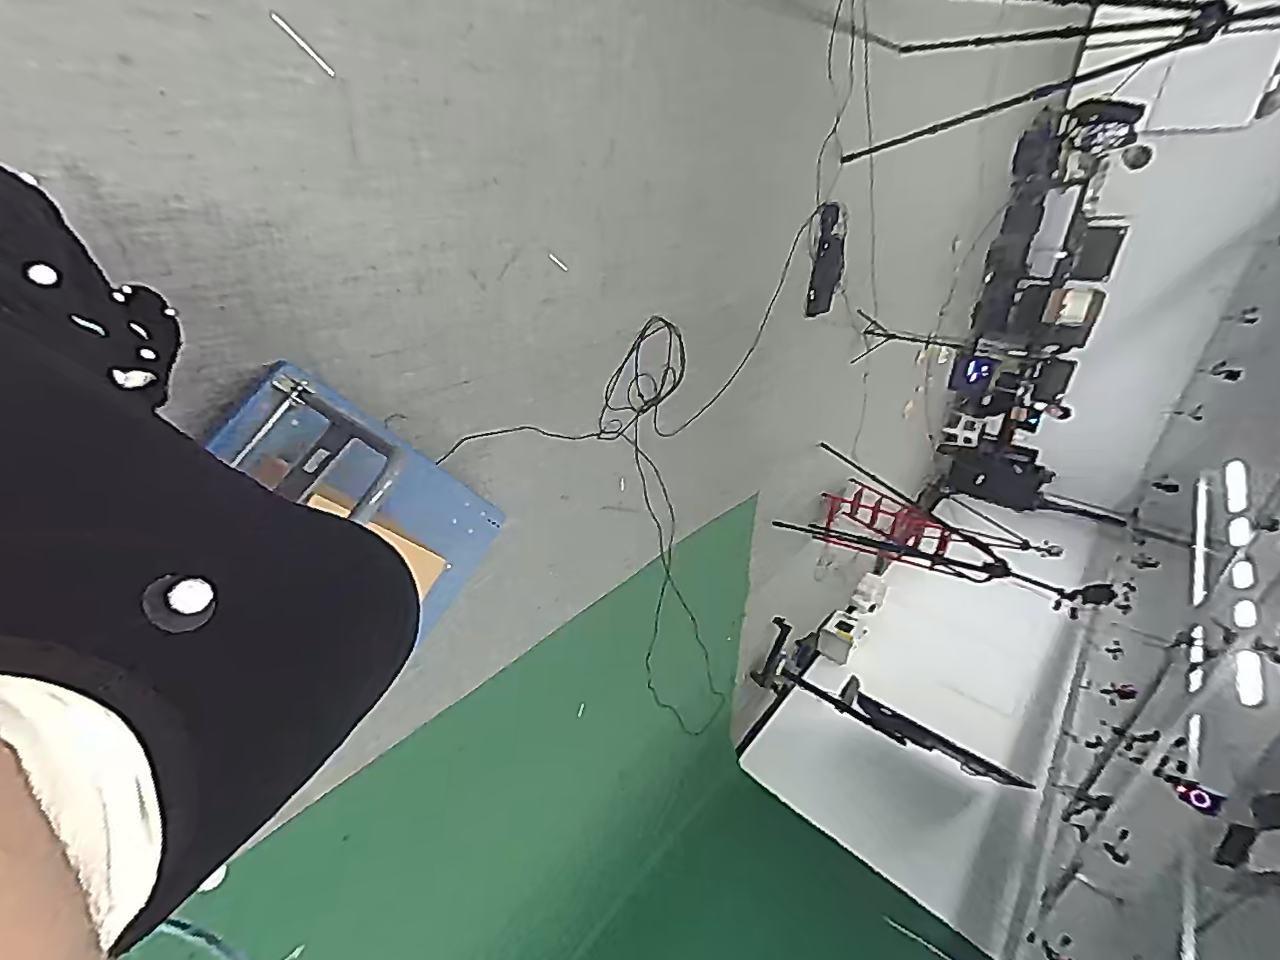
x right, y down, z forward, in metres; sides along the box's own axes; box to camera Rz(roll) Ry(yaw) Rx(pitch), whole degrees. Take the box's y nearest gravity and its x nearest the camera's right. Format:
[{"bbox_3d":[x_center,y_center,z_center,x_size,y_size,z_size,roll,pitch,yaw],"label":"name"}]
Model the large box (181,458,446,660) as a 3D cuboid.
[{"bbox_3d":[-0.783,0.198,1.330,0.320,0.320,0.408,-58,143,-12],"label":"large box"}]
